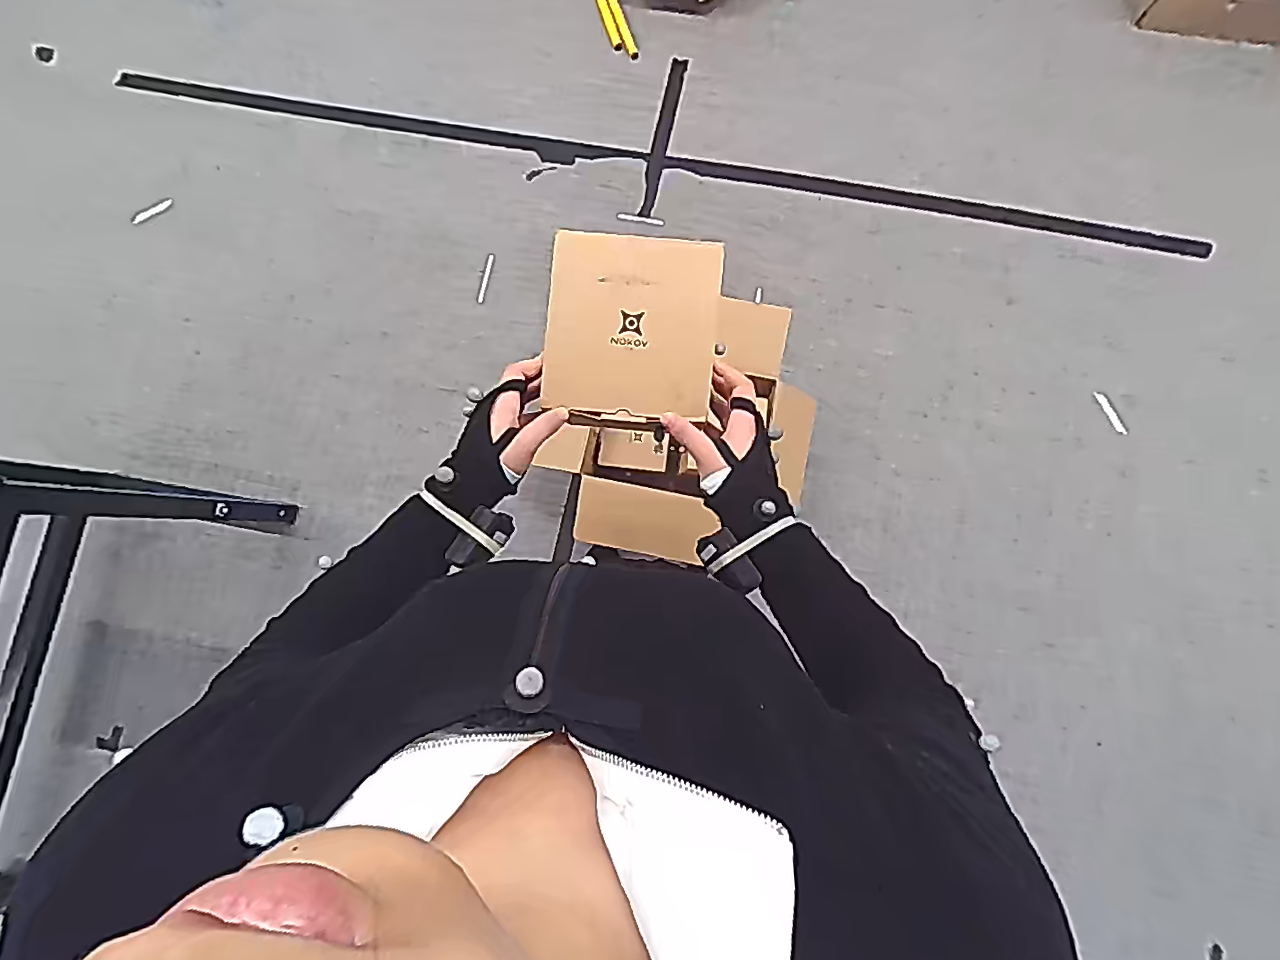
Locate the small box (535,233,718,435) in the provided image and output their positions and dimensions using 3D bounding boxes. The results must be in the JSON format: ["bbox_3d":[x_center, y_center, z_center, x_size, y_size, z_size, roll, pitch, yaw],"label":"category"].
[{"bbox_3d":[-0.011,-0.146,0.600,0.168,0.176,0.179,5,90,1],"label":"small box"}]

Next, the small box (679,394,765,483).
[{"bbox_3d":[0.184,-0.091,1.262,0.168,0.176,0.179,6,85,-1],"label":"small box"}]
